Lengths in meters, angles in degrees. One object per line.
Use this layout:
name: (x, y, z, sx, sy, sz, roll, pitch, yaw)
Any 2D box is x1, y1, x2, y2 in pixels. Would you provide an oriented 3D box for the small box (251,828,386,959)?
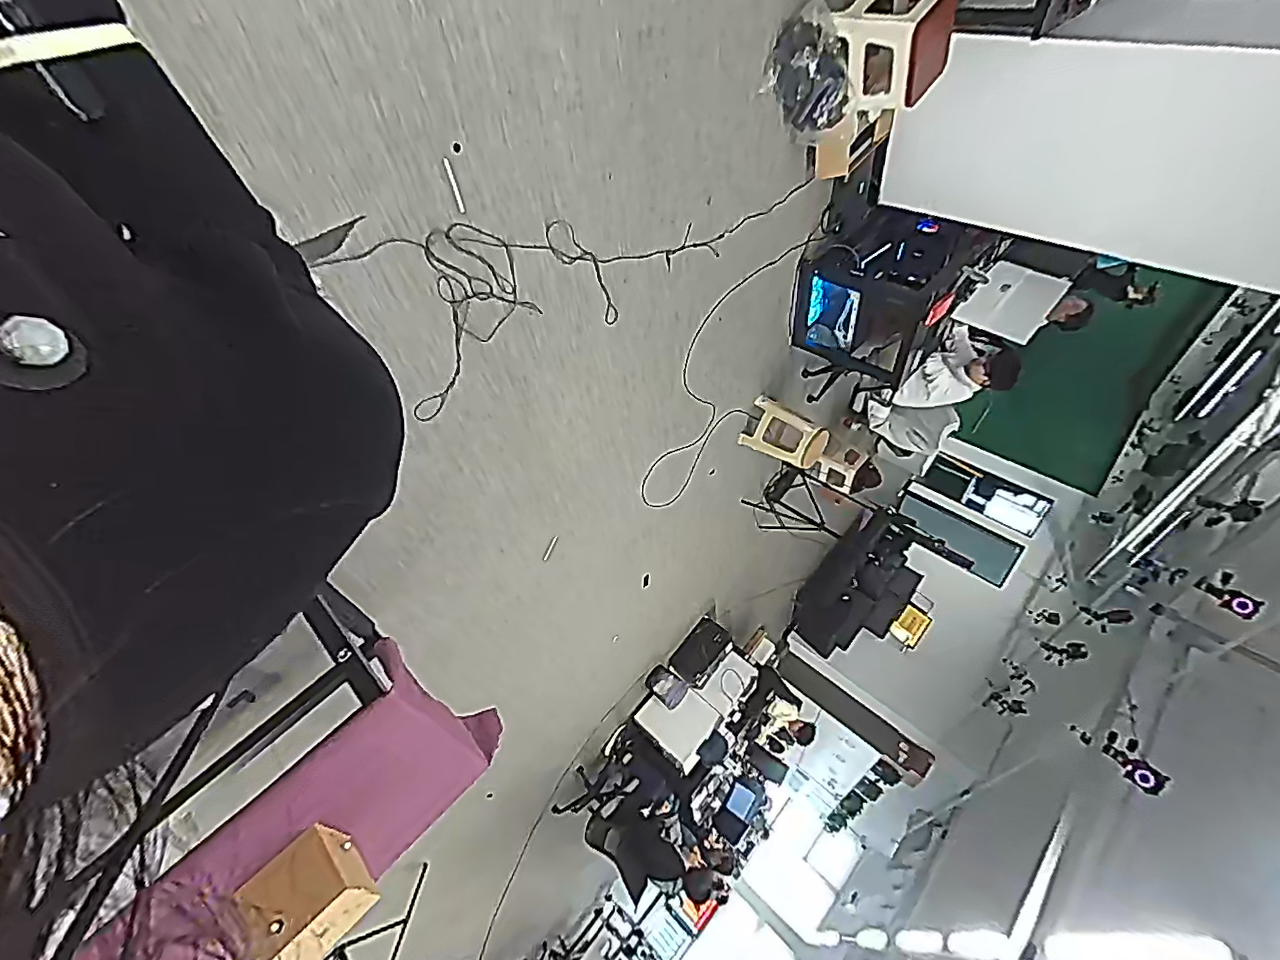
small box: (-0.691, 0.898, 1.157, 0.179, 0.176, 0.168, -40, 145, -27)
